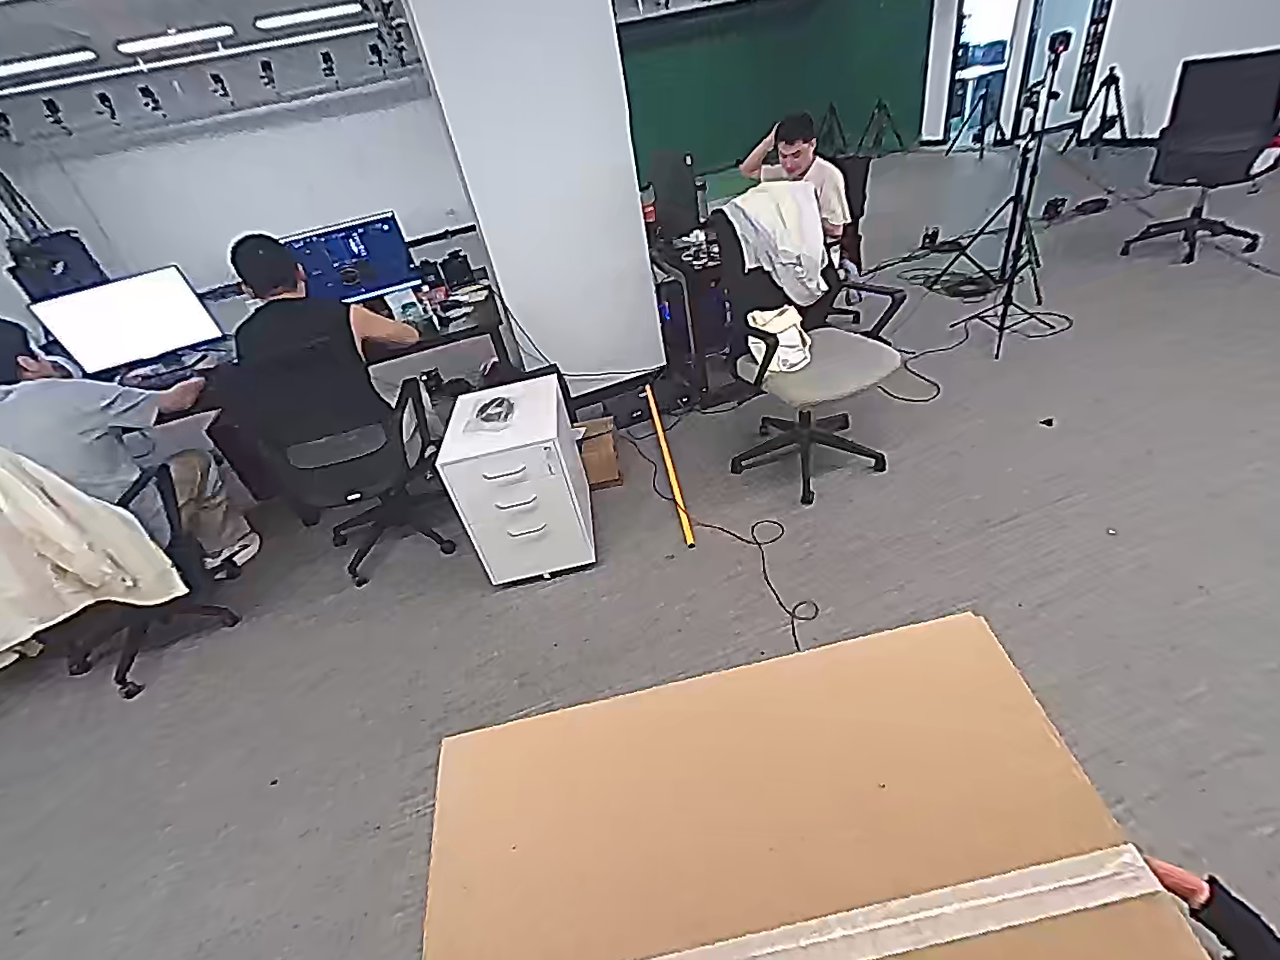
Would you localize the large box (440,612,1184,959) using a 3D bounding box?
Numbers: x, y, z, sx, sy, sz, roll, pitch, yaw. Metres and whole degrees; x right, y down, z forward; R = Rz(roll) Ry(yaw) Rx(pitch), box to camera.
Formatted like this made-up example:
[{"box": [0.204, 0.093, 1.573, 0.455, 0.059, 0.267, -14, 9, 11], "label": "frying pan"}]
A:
[{"box": [0.103, 0.352, 0.417, 0.408, 0.320, 0.320, -15, 47, 1], "label": "large box"}]
